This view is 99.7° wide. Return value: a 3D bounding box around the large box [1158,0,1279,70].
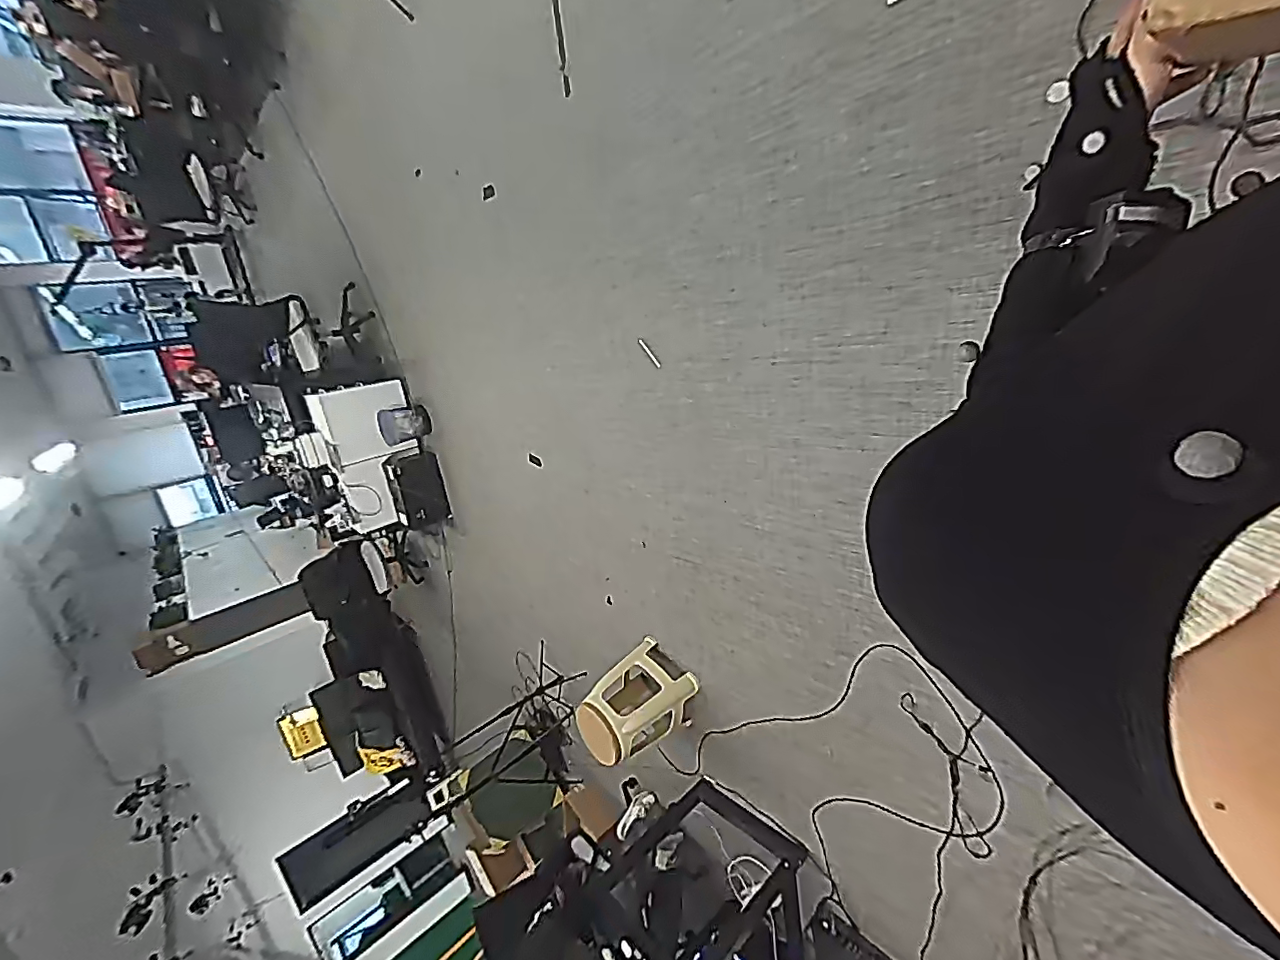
[{"bbox_3d":[0.423,-0.333,0.115,0.408,0.320,0.320,16,127,38],"label":"large box"}]
